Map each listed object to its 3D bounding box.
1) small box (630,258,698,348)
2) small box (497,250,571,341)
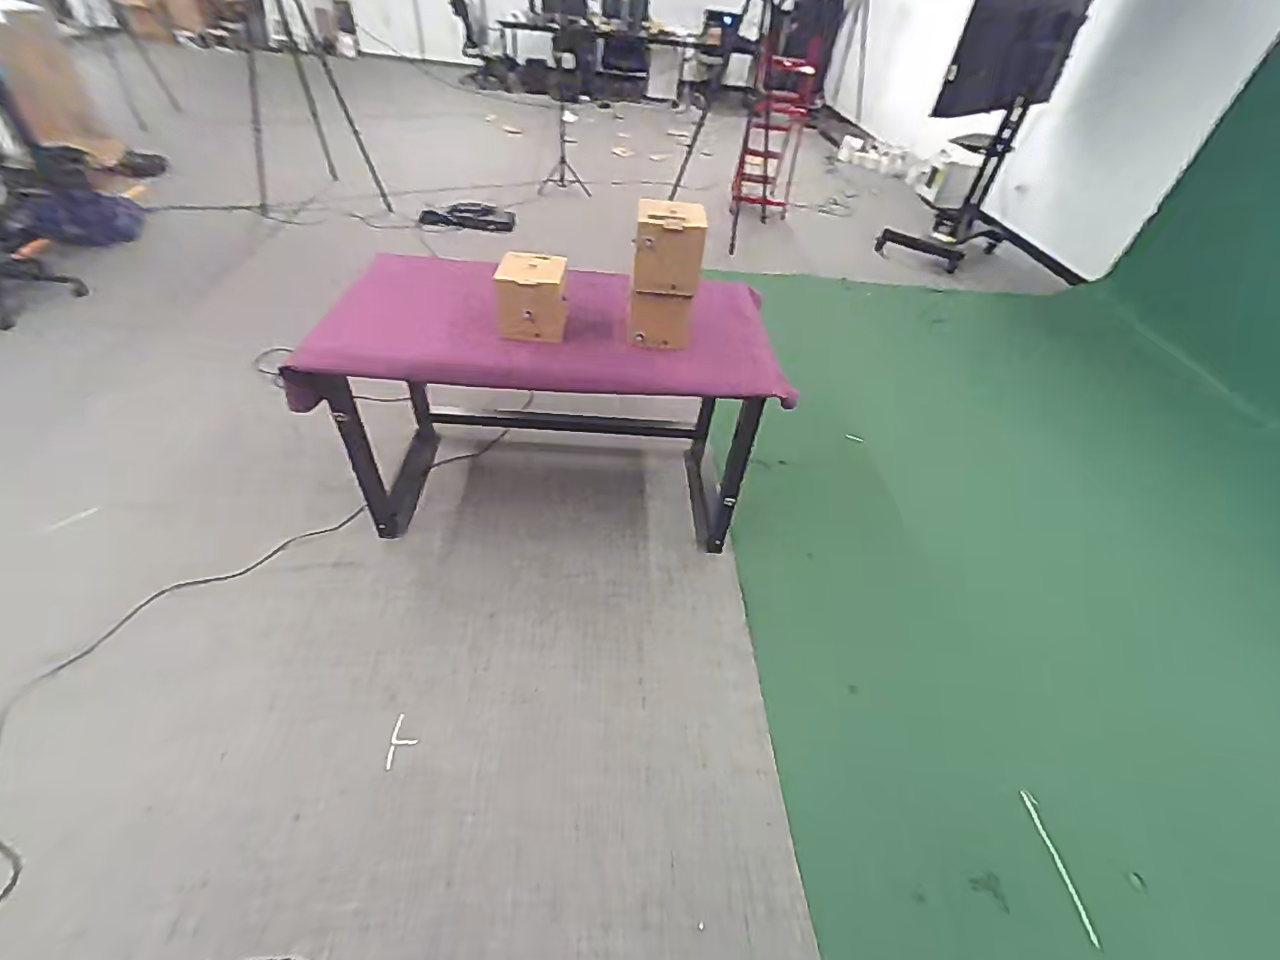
[{"bbox_3d":[0.065,-0.480,1.478,0.168,0.176,0.179,7,44,-3],"label":"small box"},{"bbox_3d":[-0.275,-0.492,1.448,0.168,0.176,0.179,6,45,-2],"label":"small box"}]
